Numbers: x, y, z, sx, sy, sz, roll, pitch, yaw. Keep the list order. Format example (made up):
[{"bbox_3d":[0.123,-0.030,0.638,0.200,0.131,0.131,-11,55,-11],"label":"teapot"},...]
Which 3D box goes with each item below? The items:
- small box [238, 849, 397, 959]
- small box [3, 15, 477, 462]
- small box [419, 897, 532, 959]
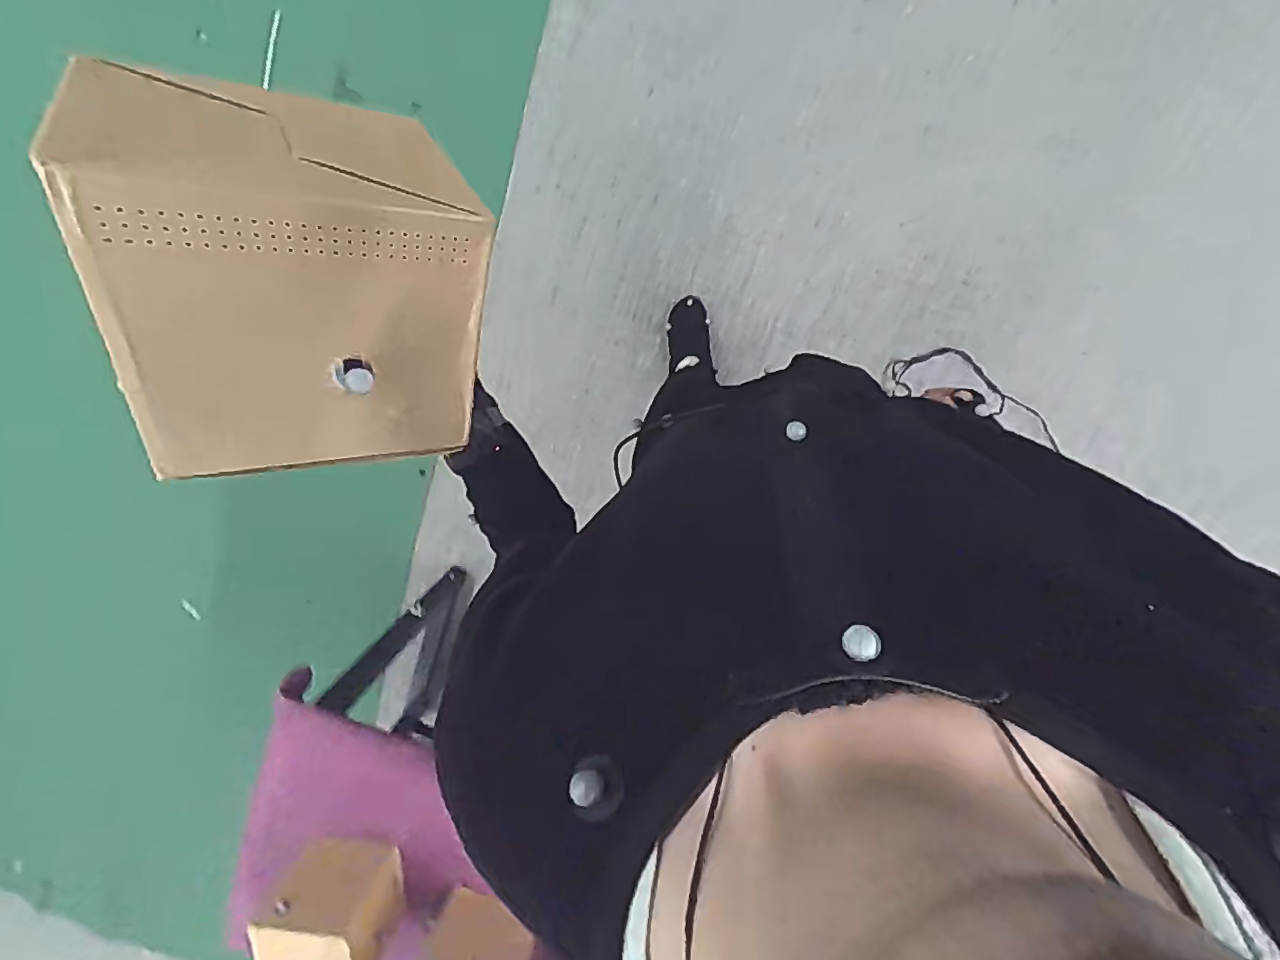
[{"bbox_3d":[-0.548,0.788,0.950,0.179,0.176,0.168,2,105,5],"label":"small box"},{"bbox_3d":[-0.210,-0.136,0.326,0.179,0.168,0.176,-11,140,-33],"label":"small box"},{"bbox_3d":[-0.312,0.894,0.956,0.179,0.176,0.168,25,105,-1],"label":"small box"}]
